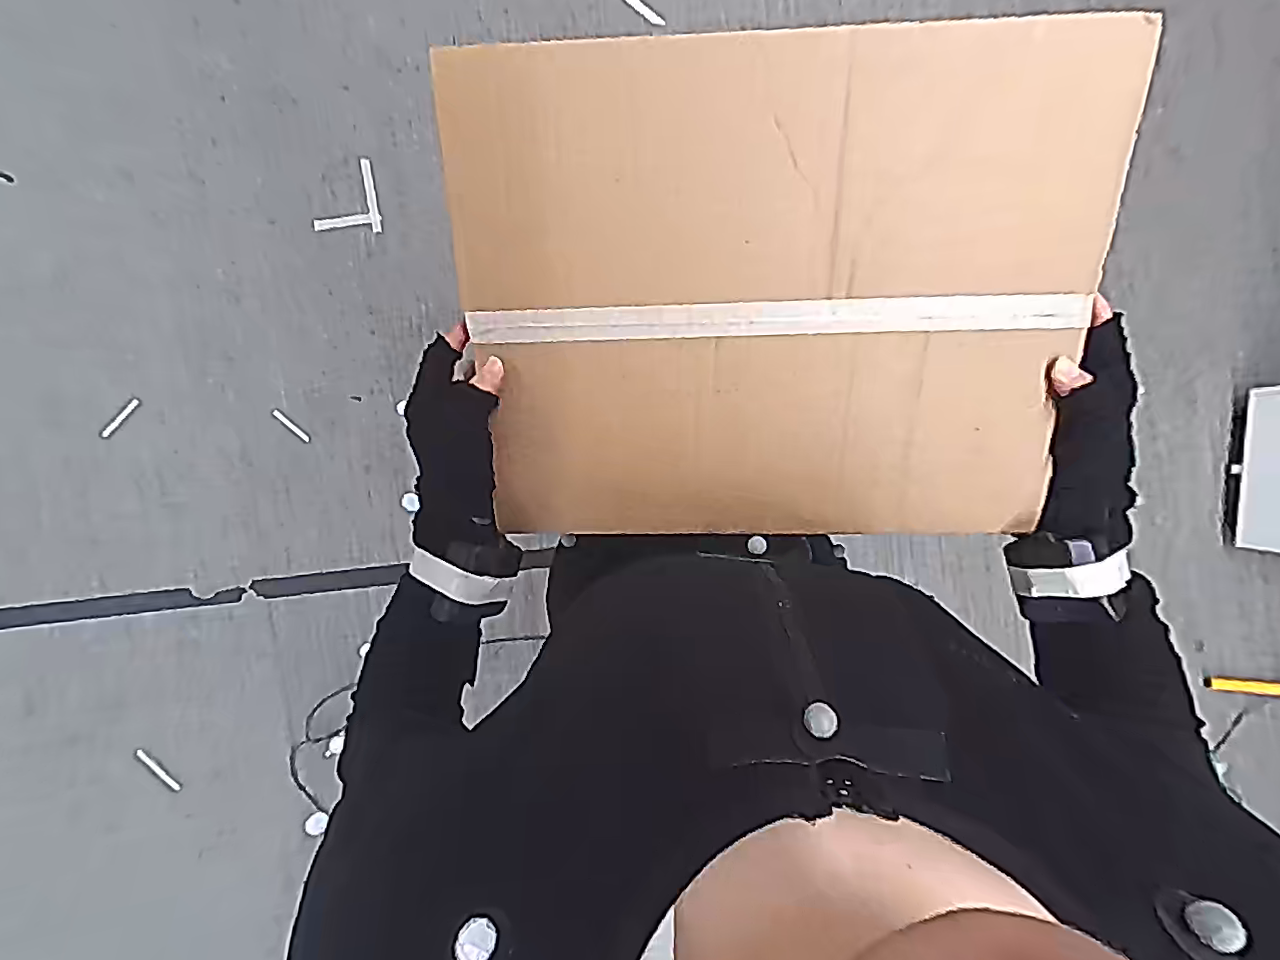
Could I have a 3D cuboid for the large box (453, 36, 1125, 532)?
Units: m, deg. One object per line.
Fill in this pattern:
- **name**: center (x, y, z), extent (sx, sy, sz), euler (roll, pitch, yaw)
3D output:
- **large box**: center (0.093, -0.158, 0.511), extent (0.408, 0.320, 0.320), euler (-1, 112, 3)
